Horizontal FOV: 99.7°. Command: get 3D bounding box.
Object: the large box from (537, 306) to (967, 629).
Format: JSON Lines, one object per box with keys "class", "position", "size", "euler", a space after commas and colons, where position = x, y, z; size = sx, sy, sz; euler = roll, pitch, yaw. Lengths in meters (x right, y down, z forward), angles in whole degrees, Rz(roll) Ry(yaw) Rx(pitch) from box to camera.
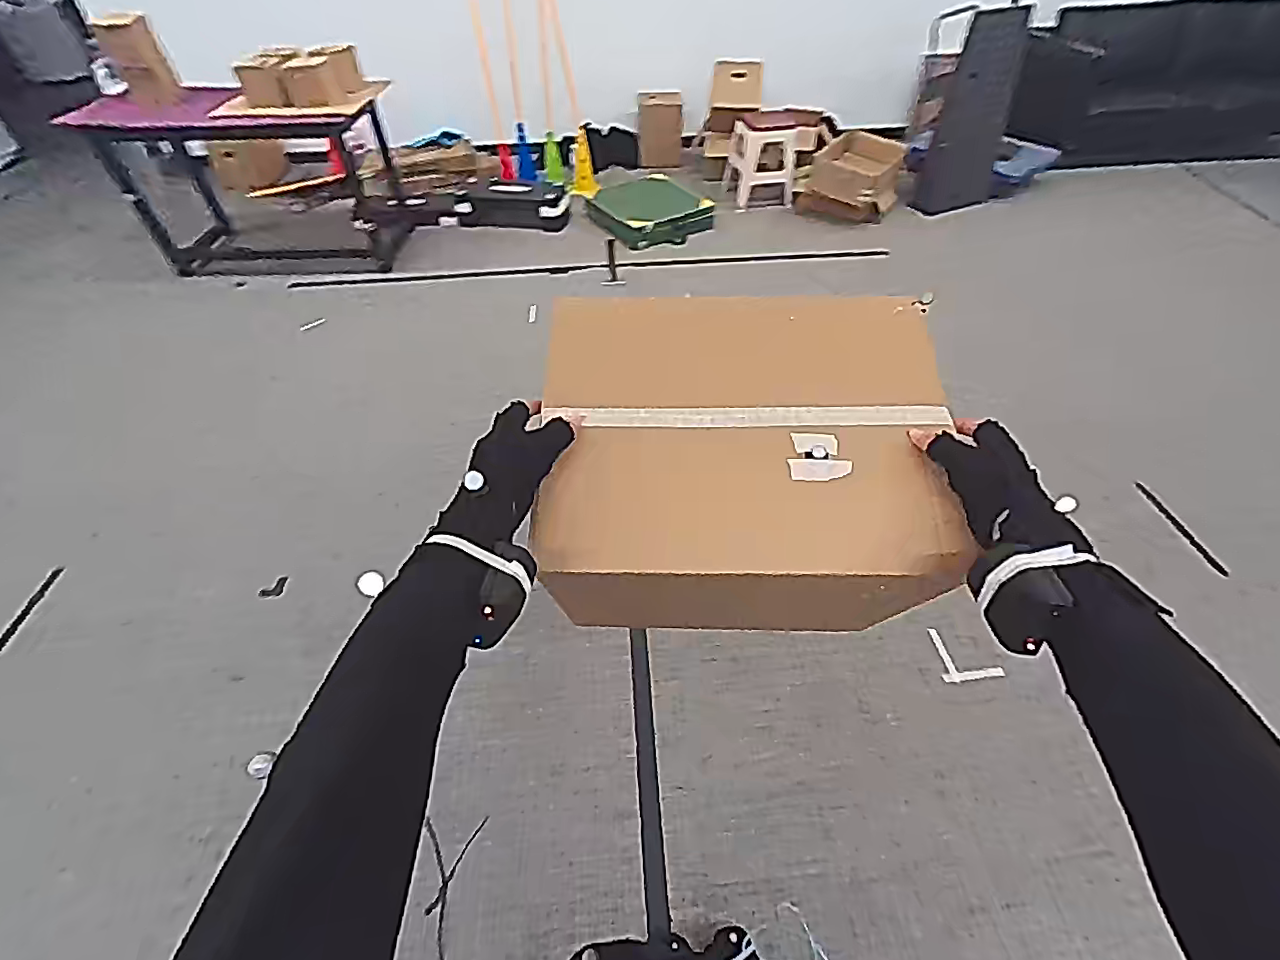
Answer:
{"class": "large box", "position": [0.101, 0.005, 0.689], "size": [0.408, 0.320, 0.320], "euler": [0, 66, 1]}
